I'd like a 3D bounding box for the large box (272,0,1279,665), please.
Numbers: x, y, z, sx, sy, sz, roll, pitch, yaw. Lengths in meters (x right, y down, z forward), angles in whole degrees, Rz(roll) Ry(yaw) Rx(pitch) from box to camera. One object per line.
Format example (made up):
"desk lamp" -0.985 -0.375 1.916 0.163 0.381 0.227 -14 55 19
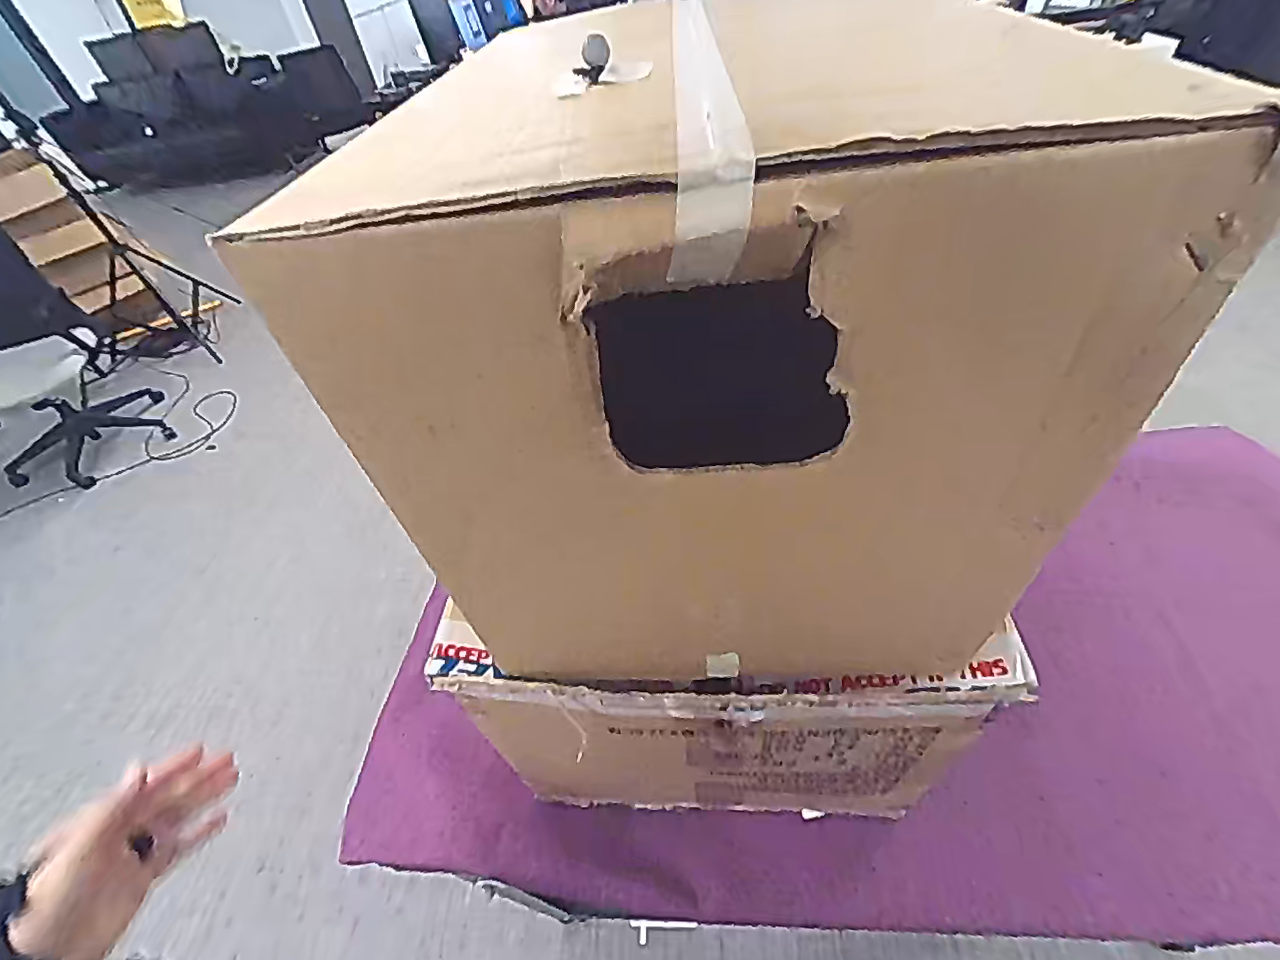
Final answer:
"large box" 0.052 -0.122 0.397 0.320 0.320 0.408 -4 46 7
